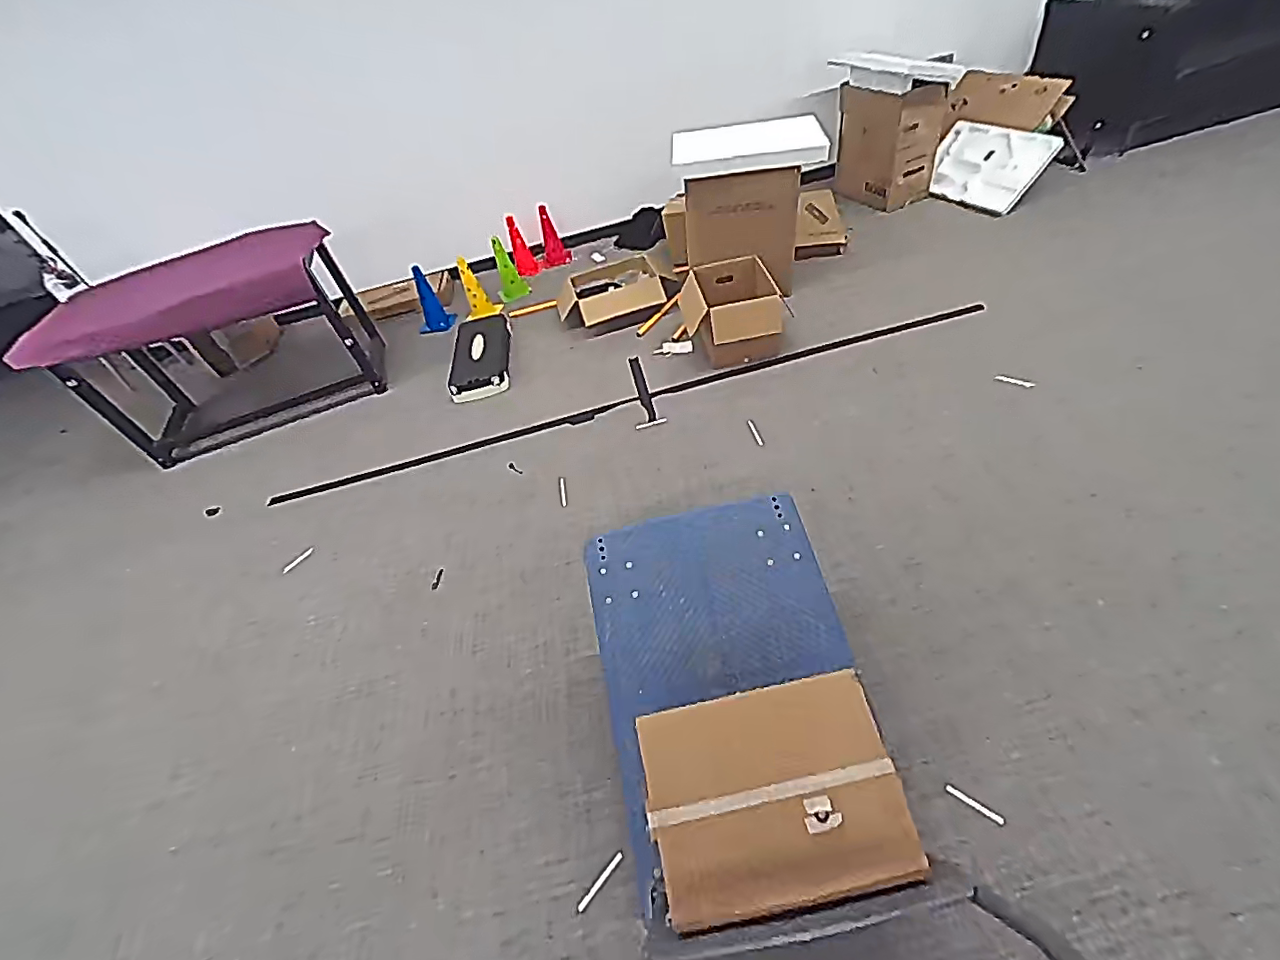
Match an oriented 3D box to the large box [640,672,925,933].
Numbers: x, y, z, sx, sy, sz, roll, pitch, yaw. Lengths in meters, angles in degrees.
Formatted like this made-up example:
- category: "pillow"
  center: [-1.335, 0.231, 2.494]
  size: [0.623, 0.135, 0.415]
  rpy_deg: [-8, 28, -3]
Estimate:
- category: "large box"
  center: [0.236, 0.592, 1.039]
  size: [0.408, 0.320, 0.320]
  rpy_deg: [-13, 64, 0]
